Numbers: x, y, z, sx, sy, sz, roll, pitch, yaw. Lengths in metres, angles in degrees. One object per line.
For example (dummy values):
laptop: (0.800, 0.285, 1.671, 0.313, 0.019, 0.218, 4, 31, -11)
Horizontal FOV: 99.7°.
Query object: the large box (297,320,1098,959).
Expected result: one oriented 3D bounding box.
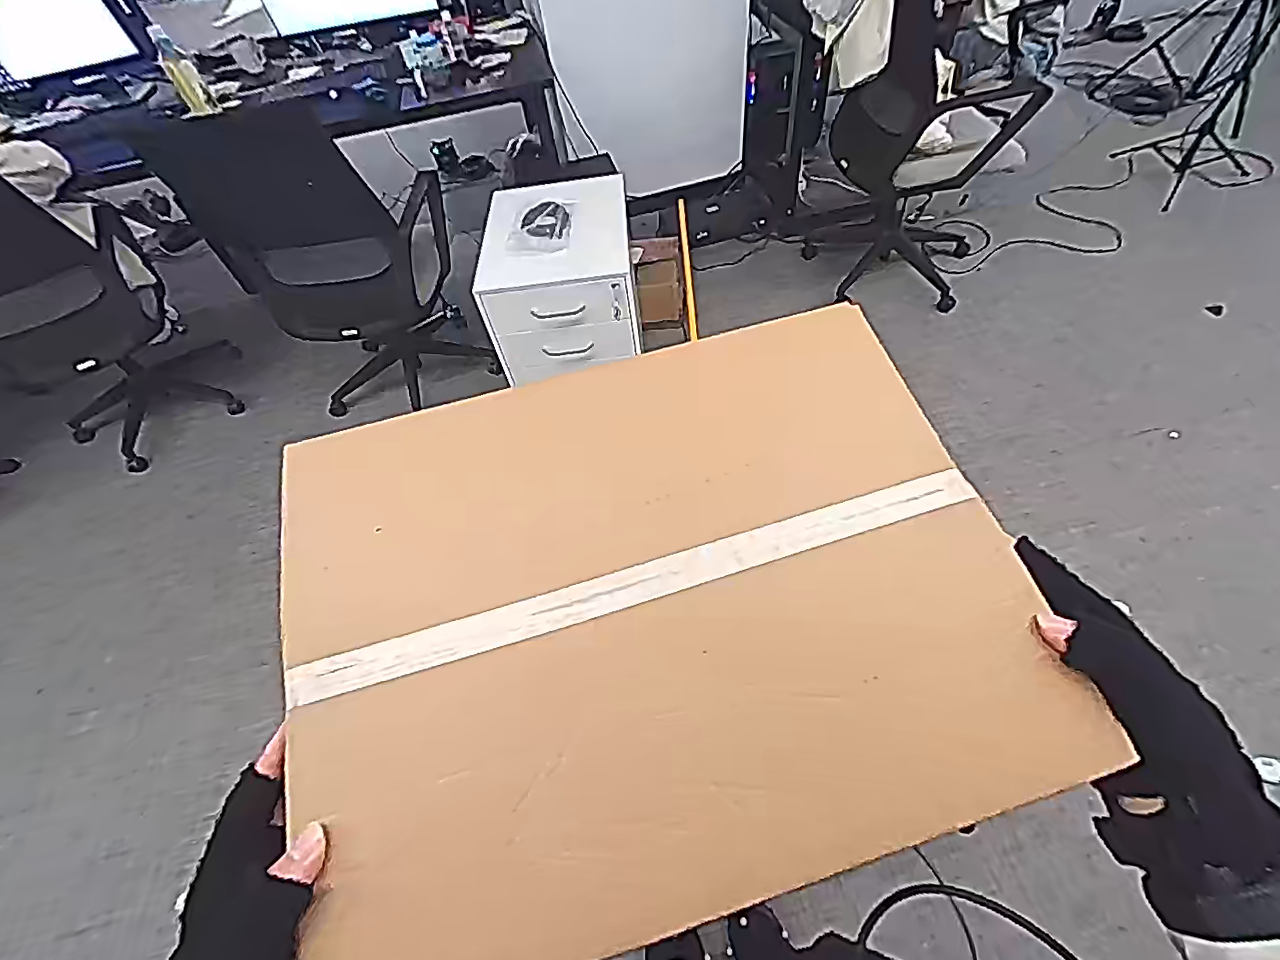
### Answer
large box: (0.012, 0.130, 0.452, 0.408, 0.320, 0.320, -16, 65, -5)
